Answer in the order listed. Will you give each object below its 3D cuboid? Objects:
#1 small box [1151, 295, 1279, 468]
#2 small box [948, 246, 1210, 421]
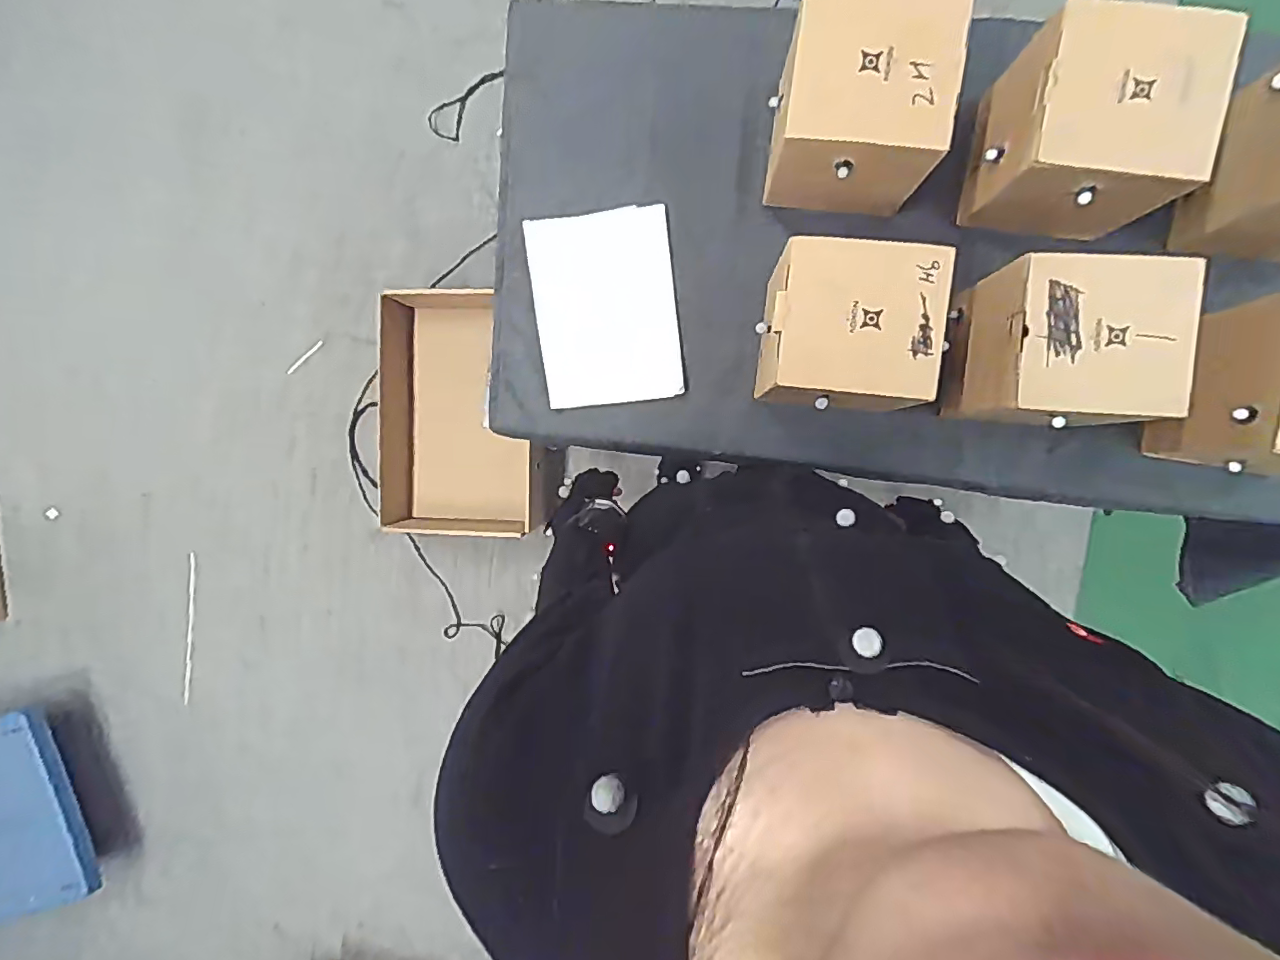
[{"bbox_3d":[0.748,-0.110,0.618,0.168,0.176,0.179,9,93,4],"label":"small box"},{"bbox_3d":[0.491,-0.158,0.635,0.179,0.176,0.168,3,93,4],"label":"small box"}]
